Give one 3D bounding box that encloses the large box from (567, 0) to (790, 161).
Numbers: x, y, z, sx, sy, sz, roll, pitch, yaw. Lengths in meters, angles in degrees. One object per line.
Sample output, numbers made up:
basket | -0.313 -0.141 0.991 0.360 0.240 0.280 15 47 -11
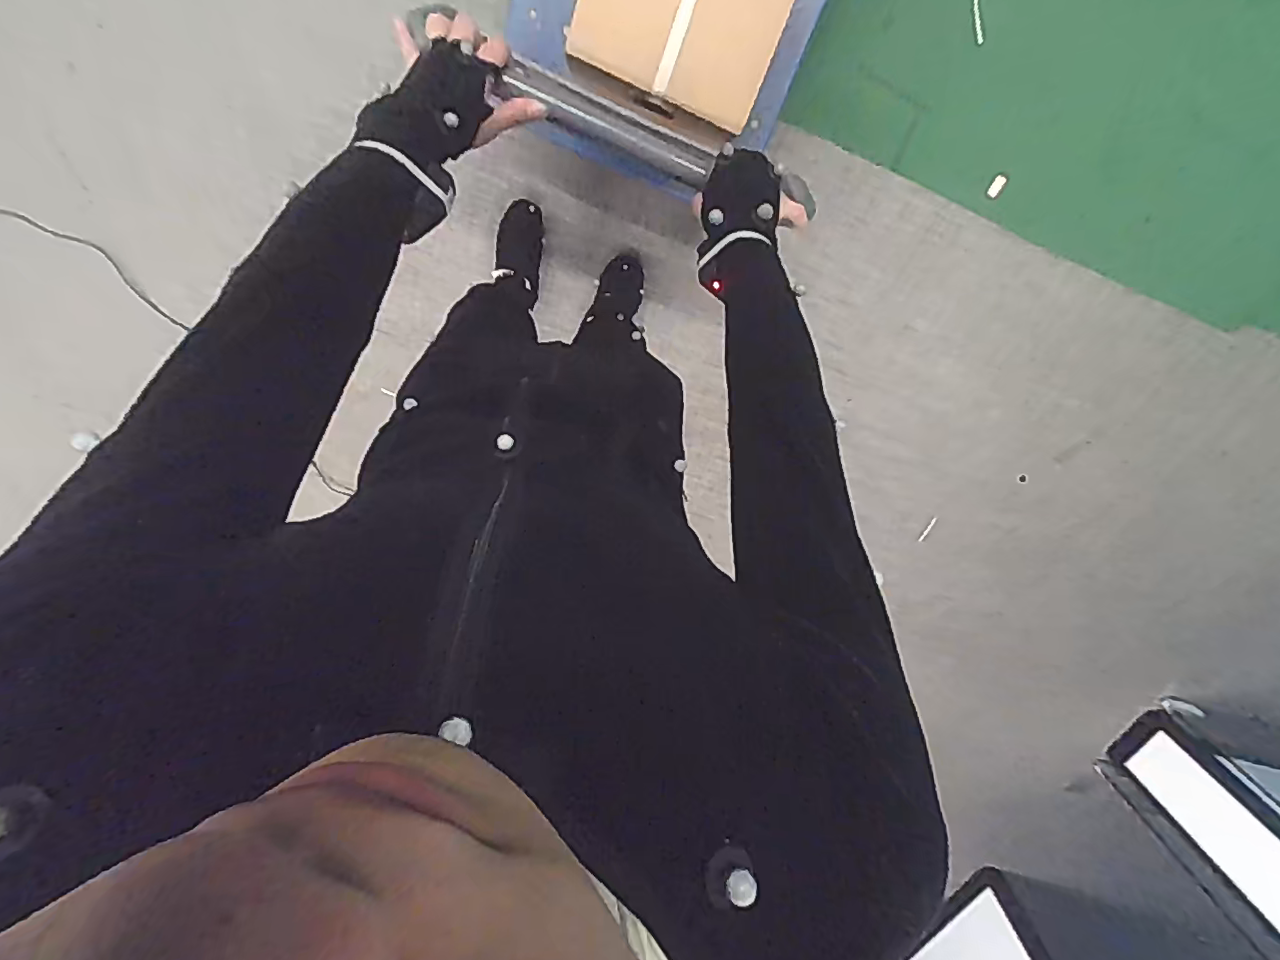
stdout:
large box | 0.083 -0.852 0.954 0.320 0.320 0.408 18 112 -12
